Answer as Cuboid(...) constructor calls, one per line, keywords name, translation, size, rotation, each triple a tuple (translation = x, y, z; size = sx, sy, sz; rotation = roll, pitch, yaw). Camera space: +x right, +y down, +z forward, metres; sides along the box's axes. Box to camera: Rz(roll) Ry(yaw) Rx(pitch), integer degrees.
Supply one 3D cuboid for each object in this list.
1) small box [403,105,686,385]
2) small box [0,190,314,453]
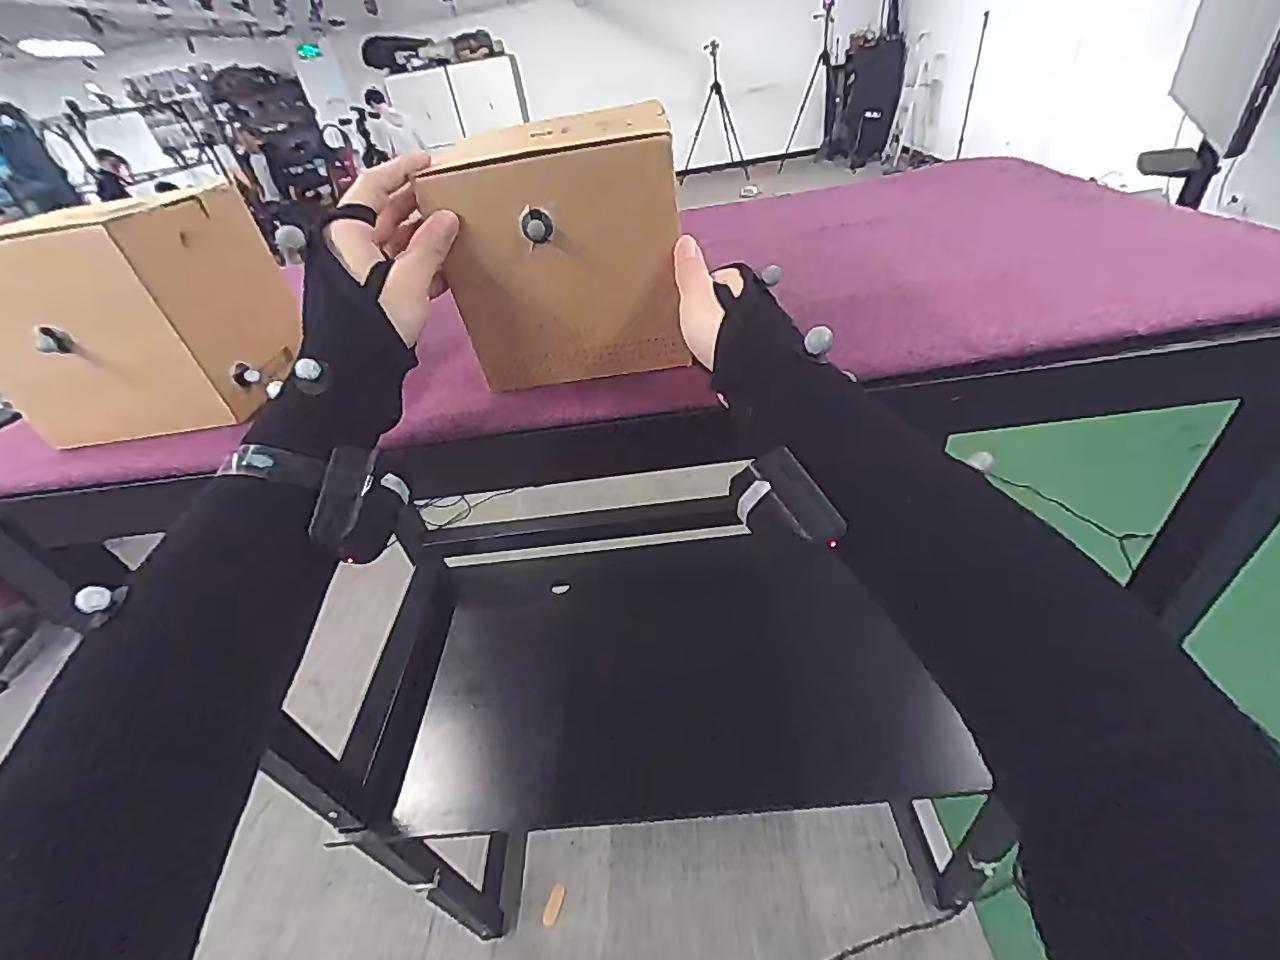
Cuboid(name="small box", translation=(-0.060, -0.196, 0.462), size=(0.179, 0.176, 0.168), rotation=(-7, 41, 6))
Cuboid(name="small box", translation=(-0.448, -0.145, 0.497), size=(0.179, 0.176, 0.168), rotation=(-9, 37, 4))
